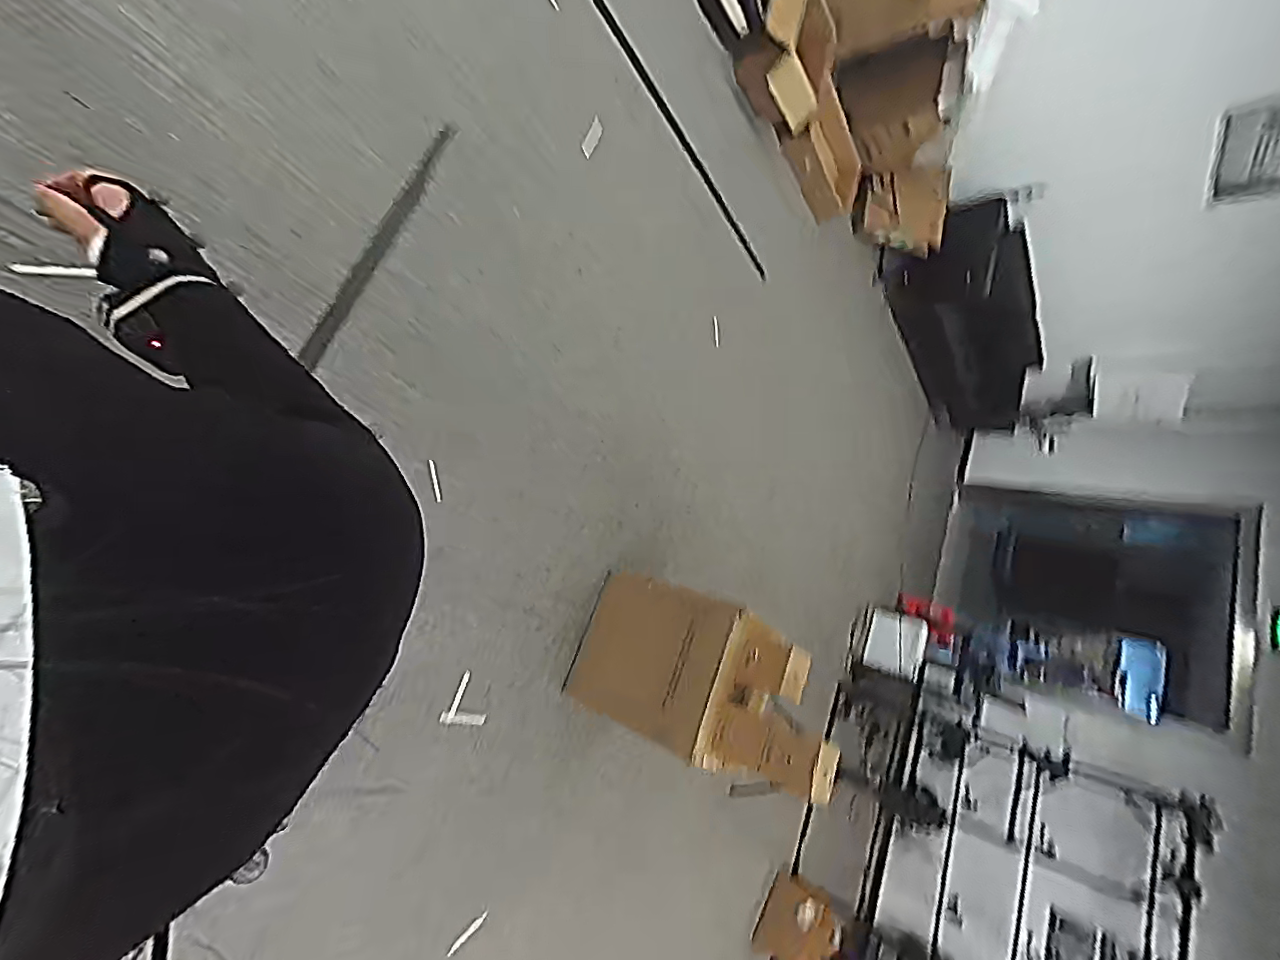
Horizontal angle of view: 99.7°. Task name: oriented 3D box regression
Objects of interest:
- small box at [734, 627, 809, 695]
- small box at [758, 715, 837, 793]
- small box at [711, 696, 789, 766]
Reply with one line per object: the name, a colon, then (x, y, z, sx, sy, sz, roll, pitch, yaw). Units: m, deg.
small box: (0.451, 0.618, 1.857, 0.179, 0.176, 0.168, 36, 68, -43)
small box: (0.486, 0.845, 1.676, 0.179, 0.176, 0.168, 38, 66, -43)
small box: (0.363, 0.828, 1.782, 0.179, 0.176, 0.168, 37, 66, -44)
